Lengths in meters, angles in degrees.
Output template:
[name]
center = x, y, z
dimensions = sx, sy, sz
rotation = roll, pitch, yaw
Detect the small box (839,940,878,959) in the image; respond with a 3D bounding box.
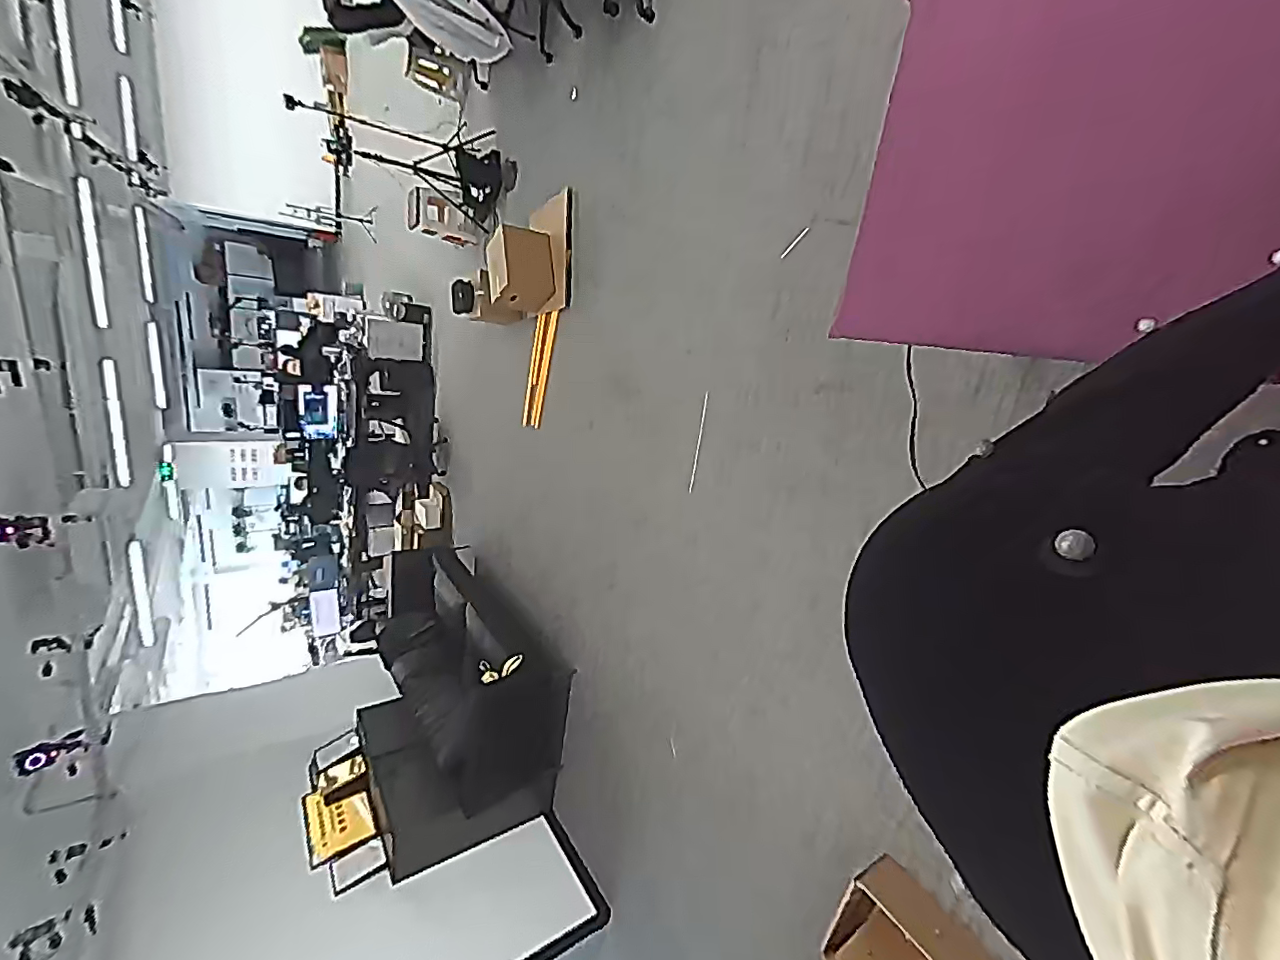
[small box]
center = 0.644, 1.525, 1.596
dimensions = 0.168, 0.176, 0.179
rotation = 36, 123, 45
